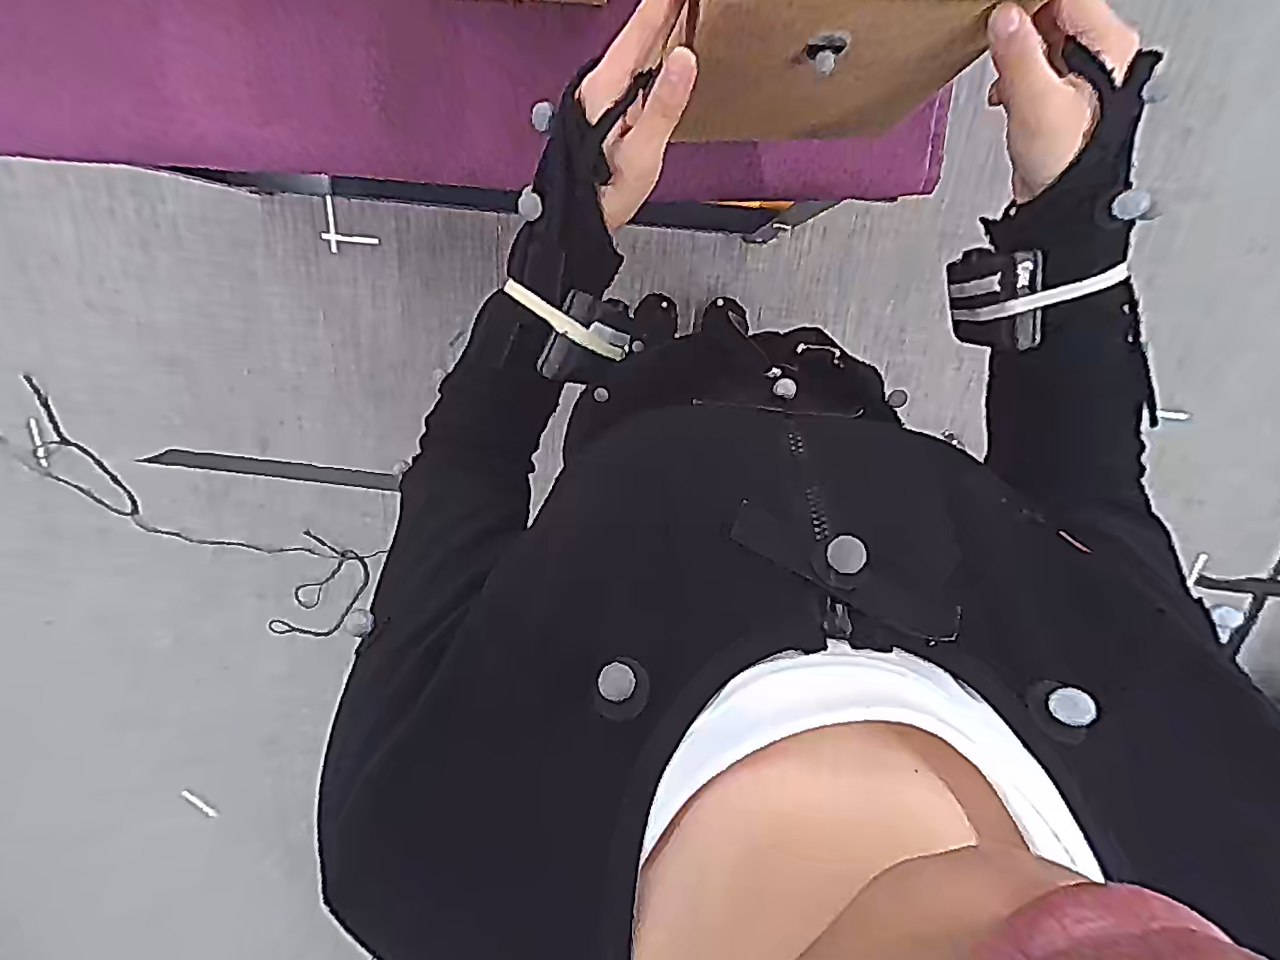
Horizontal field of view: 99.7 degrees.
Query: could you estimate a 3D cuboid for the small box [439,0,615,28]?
[{"bbox_3d":[-0.098,-0.489,0.412,0.179,0.176,0.168,8,105,0],"label":"small box"}]
